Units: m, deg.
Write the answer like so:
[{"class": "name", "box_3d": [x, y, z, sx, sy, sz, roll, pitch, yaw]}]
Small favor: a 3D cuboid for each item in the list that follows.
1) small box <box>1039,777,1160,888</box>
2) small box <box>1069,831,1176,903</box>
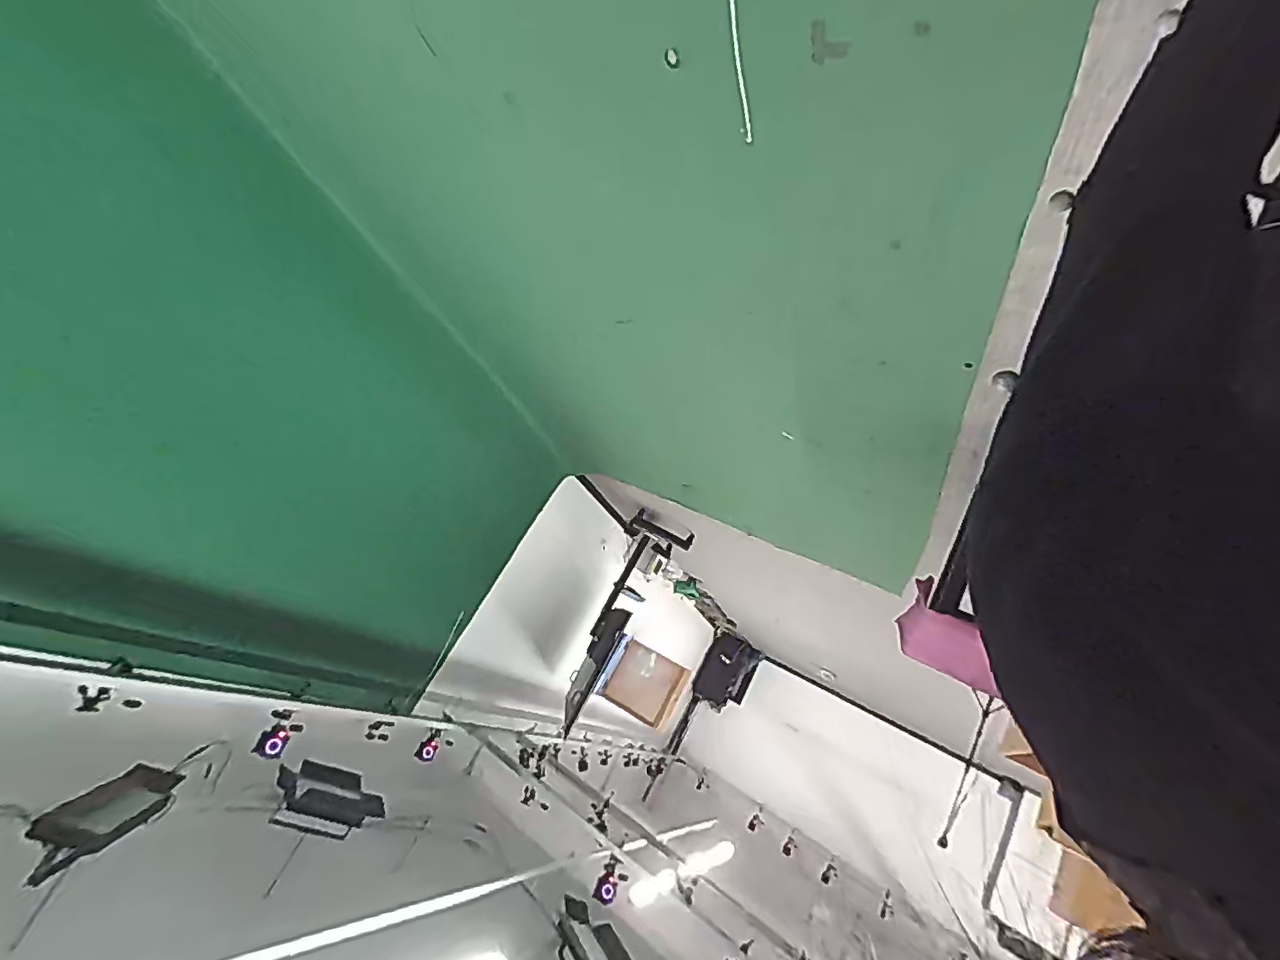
[{"class": "small box", "box_3d": [1.167, 0.886, 1.380, 0.179, 0.176, 0.168, 20, 162, 25]}, {"class": "small box", "box_3d": [1.347, 1.028, 1.511, 0.168, 0.176, 0.179, 22, 161, 26]}]
